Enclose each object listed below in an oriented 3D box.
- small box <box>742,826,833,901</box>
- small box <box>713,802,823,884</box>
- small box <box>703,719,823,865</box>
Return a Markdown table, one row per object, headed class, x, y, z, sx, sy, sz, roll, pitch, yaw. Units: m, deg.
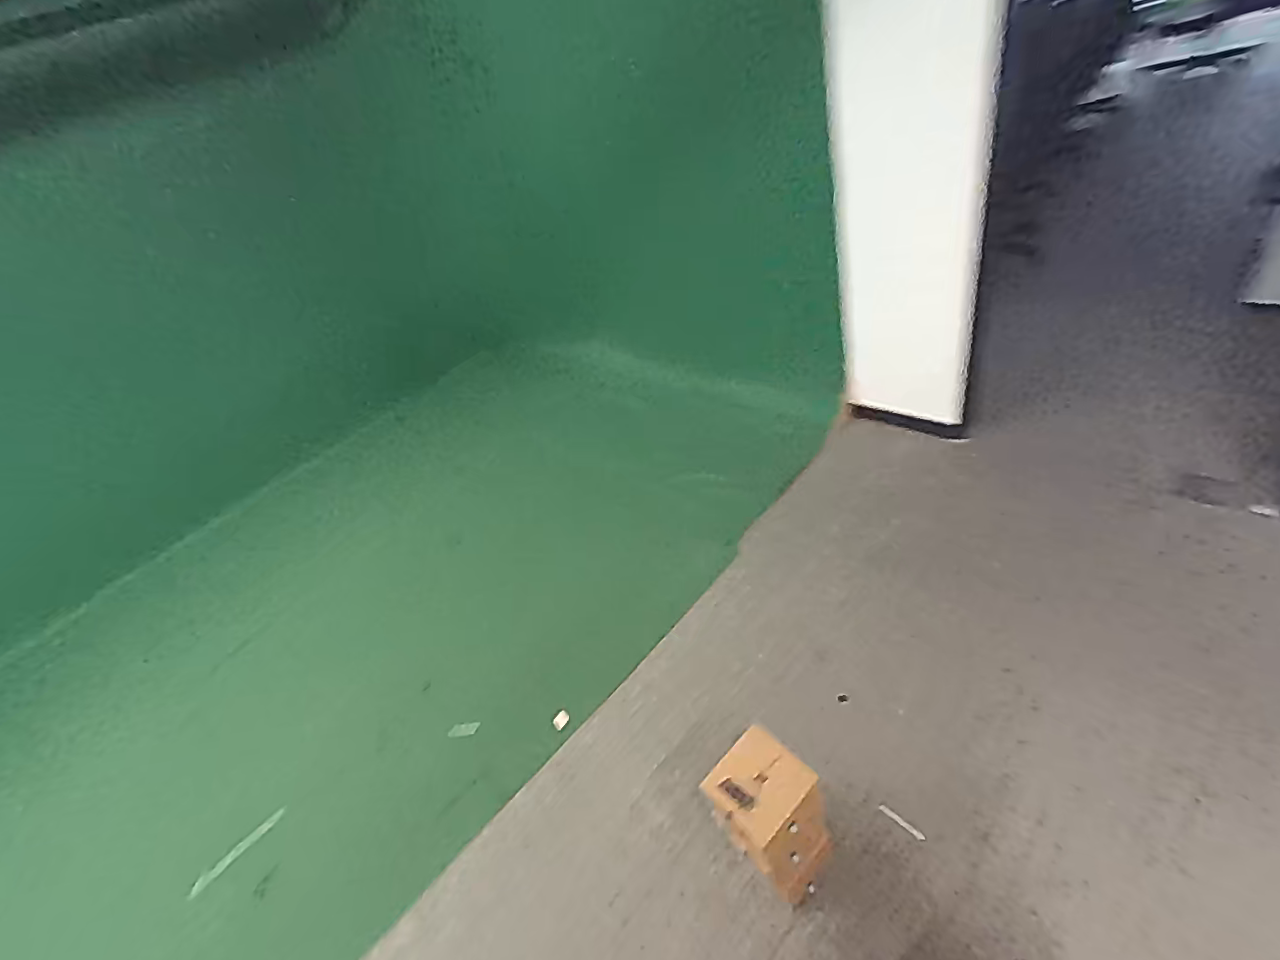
| class | x | y | z | sx | sy | sz | roll | pitch | yaw |
| --- | --- | --- | --- | --- | --- | --- | --- | --- | --- |
| small box | 0.351 | 0.886 | 1.332 | 0.168 | 0.176 | 0.179 | -38 | 42 | -18 |
| small box | 0.298 | 0.769 | 1.231 | 0.179 | 0.176 | 0.168 | -39 | 42 | -18 |
| small box | 0.262 | 0.649 | 1.123 | 0.179 | 0.176 | 0.168 | -39 | 42 | -20 |
